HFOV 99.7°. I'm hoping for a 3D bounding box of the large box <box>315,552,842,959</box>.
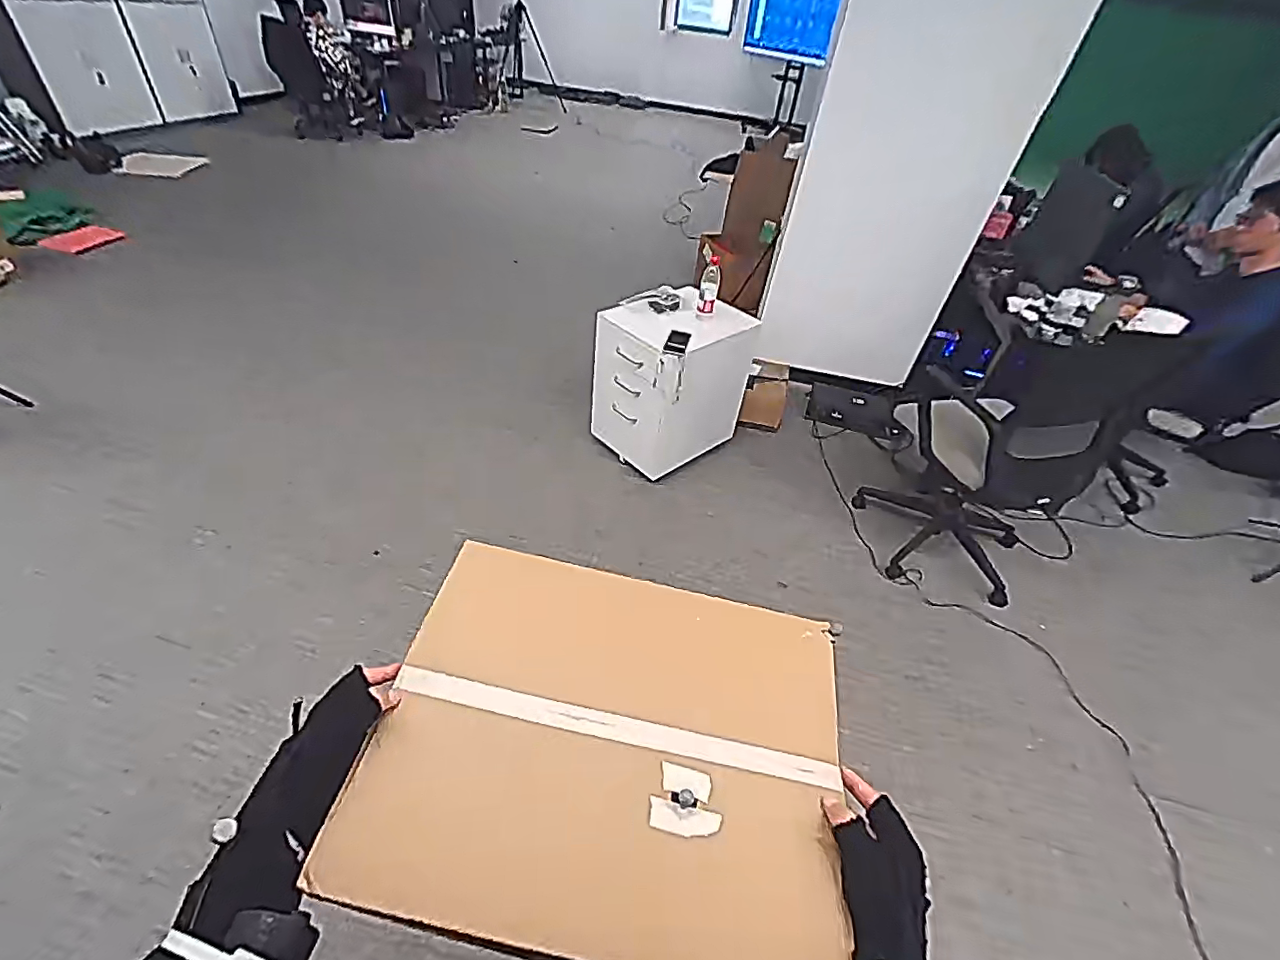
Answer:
[{"bbox_3d":[-0.044,0.326,0.600,0.408,0.320,0.320,13,48,1],"label":"large box"}]
